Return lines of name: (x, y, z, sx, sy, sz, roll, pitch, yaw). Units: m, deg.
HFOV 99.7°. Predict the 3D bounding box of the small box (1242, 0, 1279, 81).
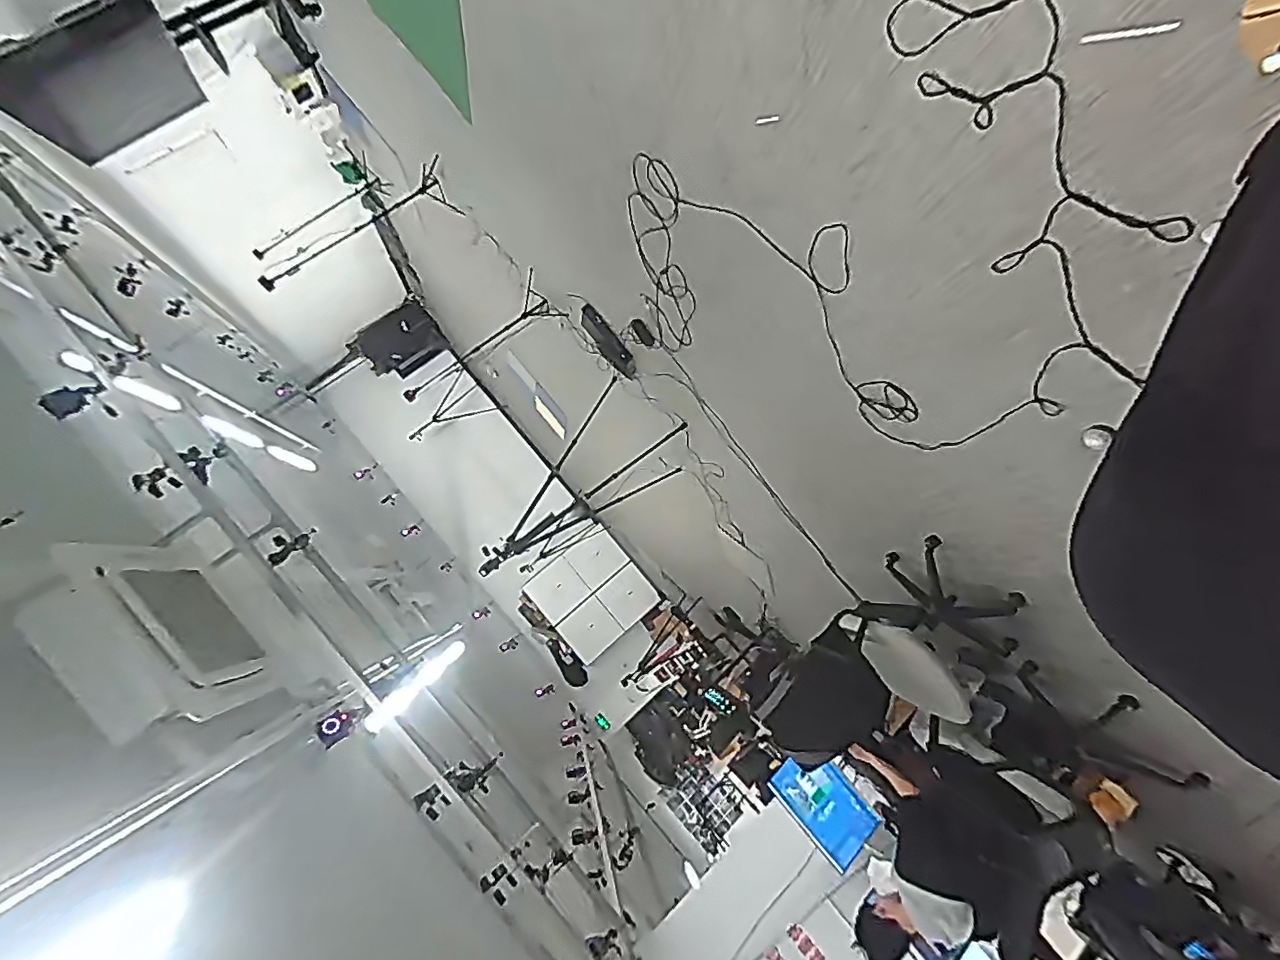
small box: (0.623, -0.454, 0.421, 0.168, 0.179, 0.176, 24, 118, 46)
